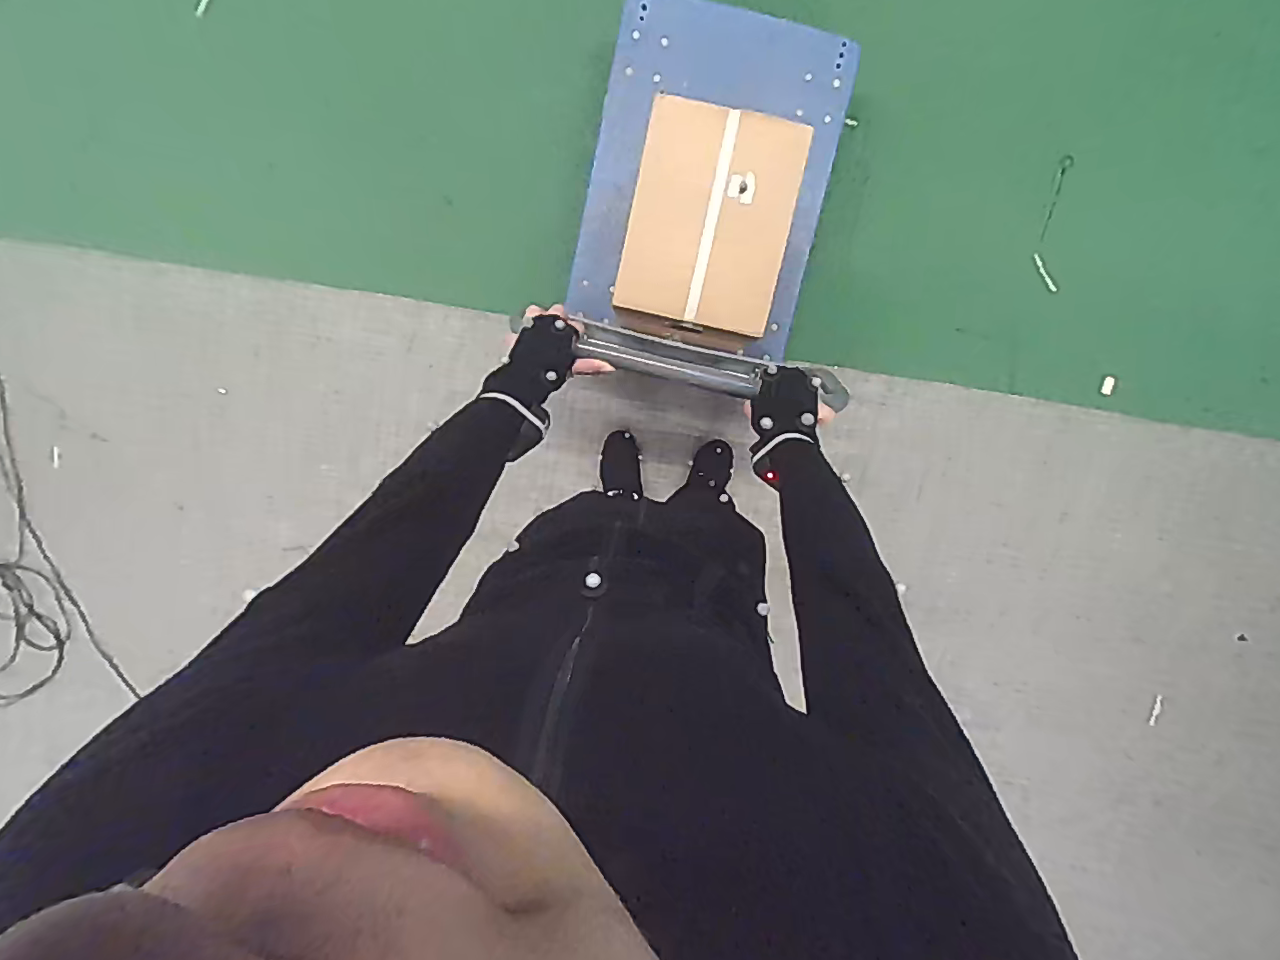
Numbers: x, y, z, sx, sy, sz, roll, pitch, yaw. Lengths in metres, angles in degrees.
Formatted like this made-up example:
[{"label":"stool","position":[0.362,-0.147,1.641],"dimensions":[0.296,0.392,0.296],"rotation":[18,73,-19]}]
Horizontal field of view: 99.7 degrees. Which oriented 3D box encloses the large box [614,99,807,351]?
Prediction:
[{"label":"large box","position":[0.139,-0.531,1.215],"dimensions":[0.320,0.320,0.408],"rotation":[13,97,-1]}]
